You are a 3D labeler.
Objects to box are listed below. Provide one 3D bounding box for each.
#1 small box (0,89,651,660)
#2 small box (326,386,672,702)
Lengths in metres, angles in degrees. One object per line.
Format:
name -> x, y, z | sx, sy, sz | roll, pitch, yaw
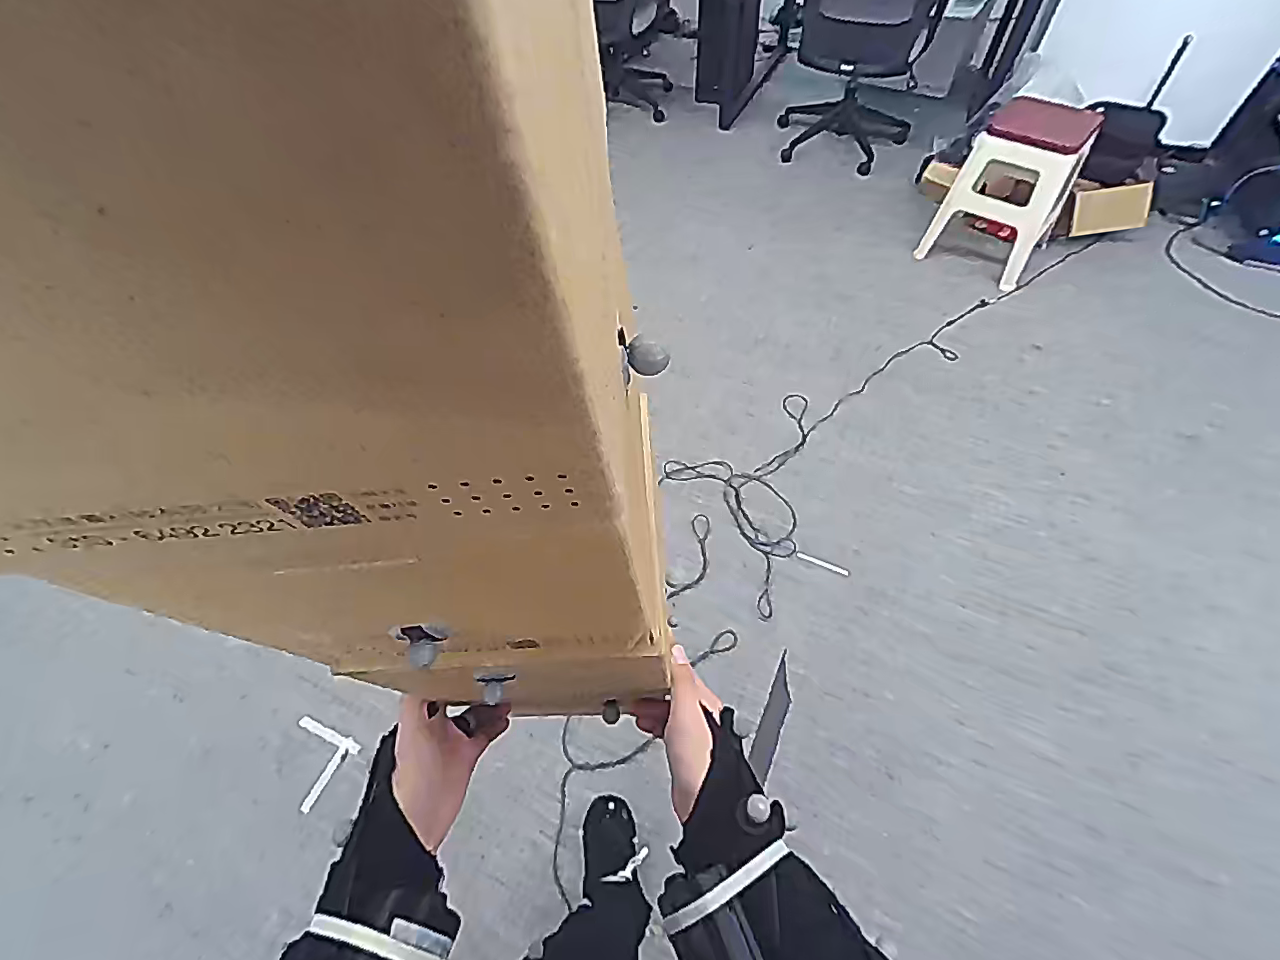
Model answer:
small box -> -0.084, -0.030, 0.239 | 0.168, 0.176, 0.179 | -5, 62, 2
small box -> -0.071, 0.056, 0.377 | 0.179, 0.176, 0.168 | -4, 62, 2
